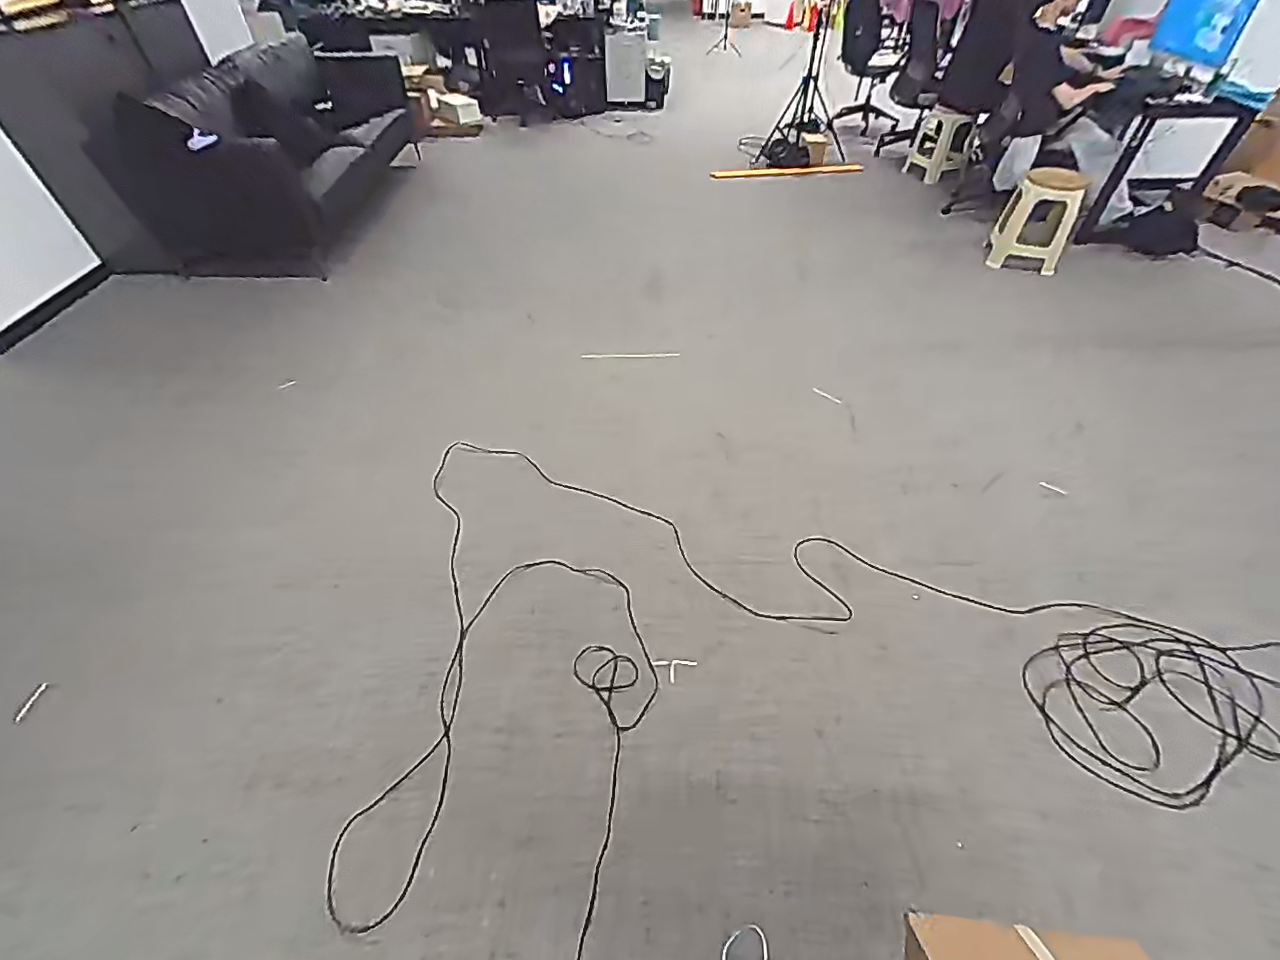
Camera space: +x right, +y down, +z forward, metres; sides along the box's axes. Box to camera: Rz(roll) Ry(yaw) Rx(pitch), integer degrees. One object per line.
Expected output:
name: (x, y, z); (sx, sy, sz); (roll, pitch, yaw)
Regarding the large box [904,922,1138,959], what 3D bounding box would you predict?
large box: (0.516, 0.799, 0.580); (0.320, 0.408, 0.320); (4, 89, 5)
